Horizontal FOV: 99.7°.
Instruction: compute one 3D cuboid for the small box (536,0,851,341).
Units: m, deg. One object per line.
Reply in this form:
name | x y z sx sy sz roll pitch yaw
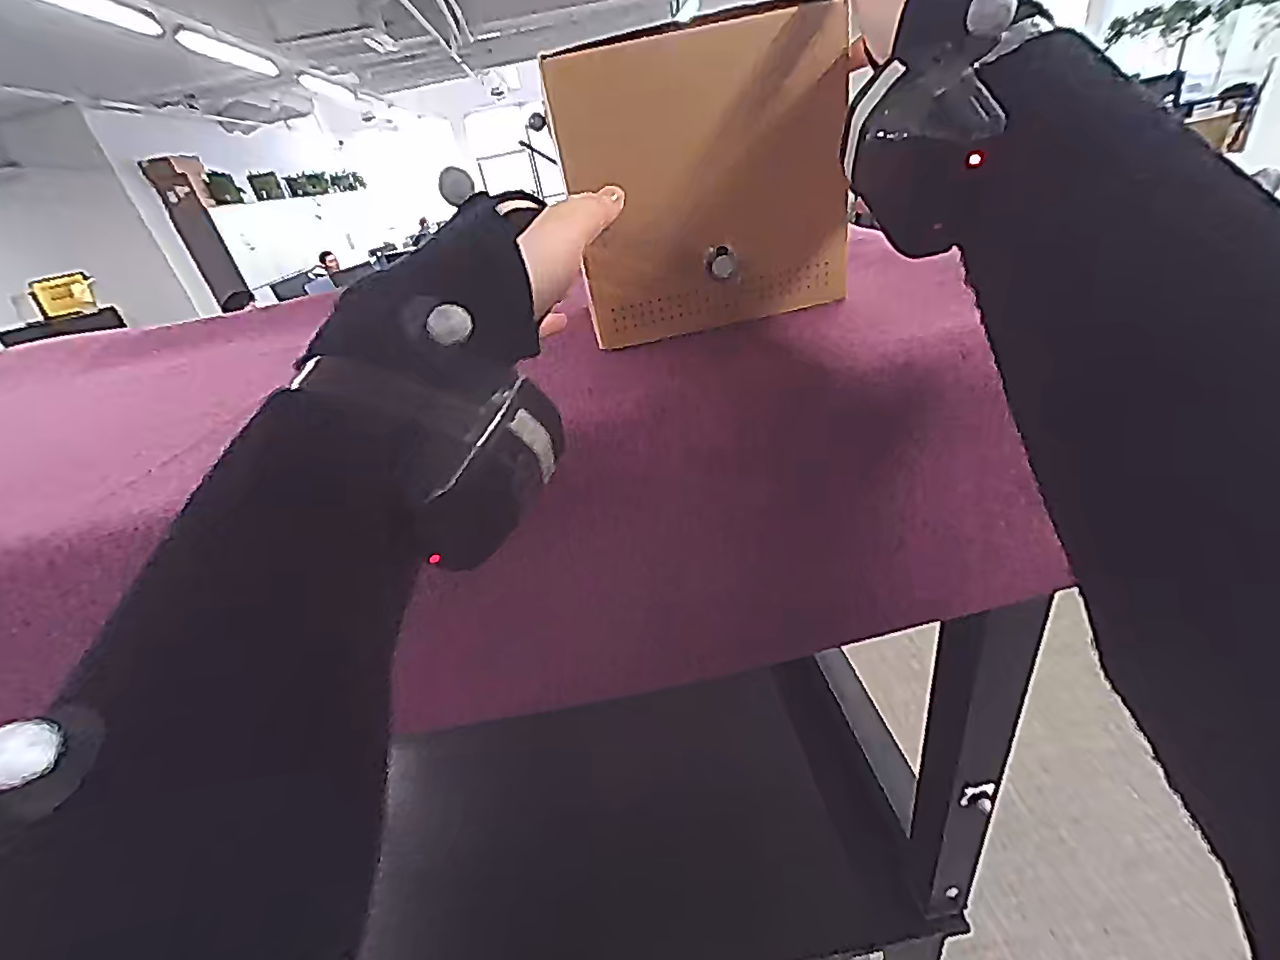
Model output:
small box | 0.032 -0.216 0.396 0.179 0.176 0.168 -12 29 -2
